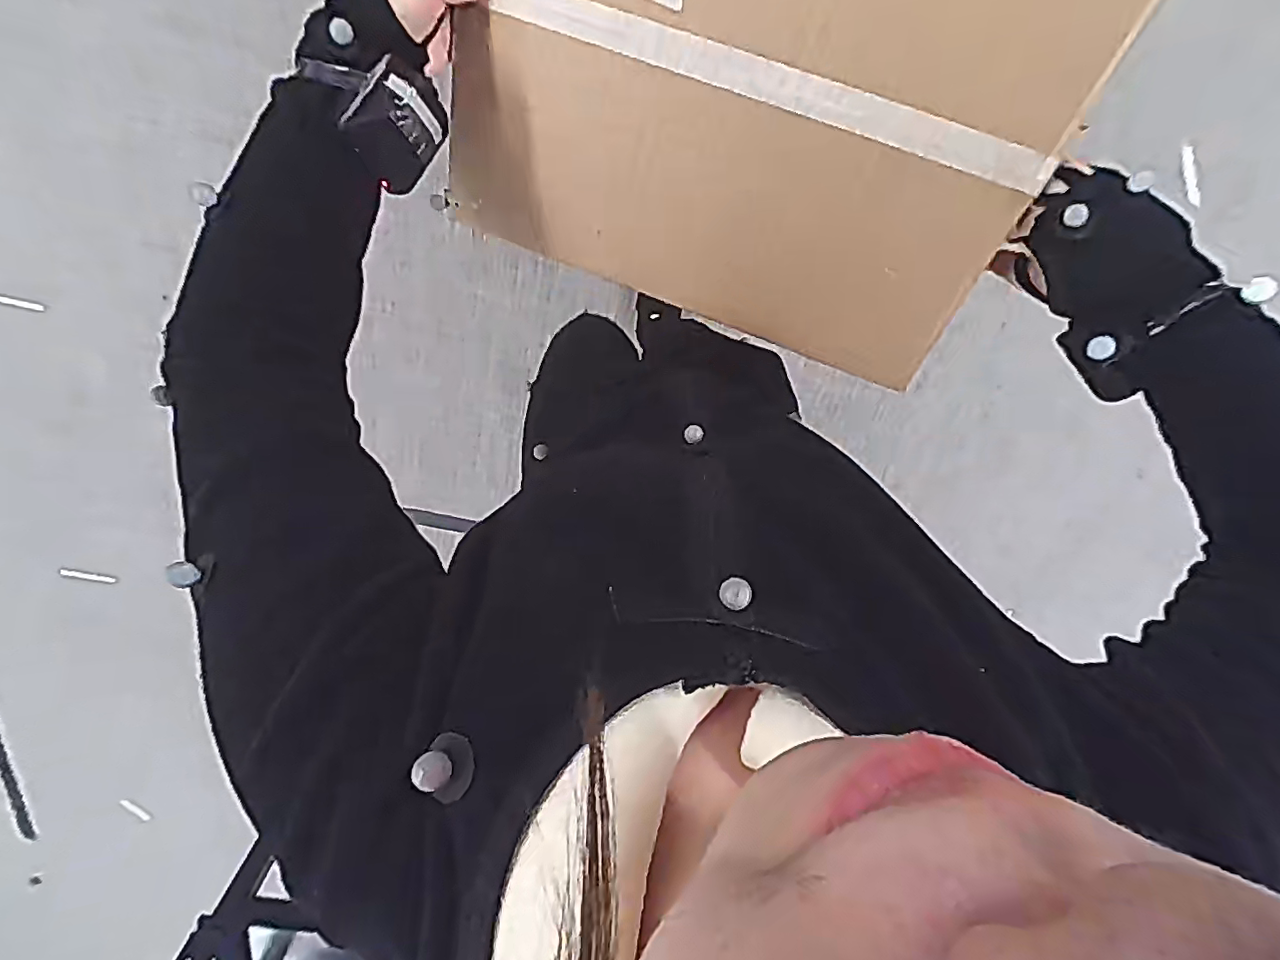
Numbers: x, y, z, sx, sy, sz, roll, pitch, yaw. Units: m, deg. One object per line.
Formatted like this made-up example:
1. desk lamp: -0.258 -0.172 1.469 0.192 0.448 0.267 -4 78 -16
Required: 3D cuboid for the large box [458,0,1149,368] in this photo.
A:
1. large box: 0.111 -0.351 0.459 0.408 0.320 0.320 22 128 4
